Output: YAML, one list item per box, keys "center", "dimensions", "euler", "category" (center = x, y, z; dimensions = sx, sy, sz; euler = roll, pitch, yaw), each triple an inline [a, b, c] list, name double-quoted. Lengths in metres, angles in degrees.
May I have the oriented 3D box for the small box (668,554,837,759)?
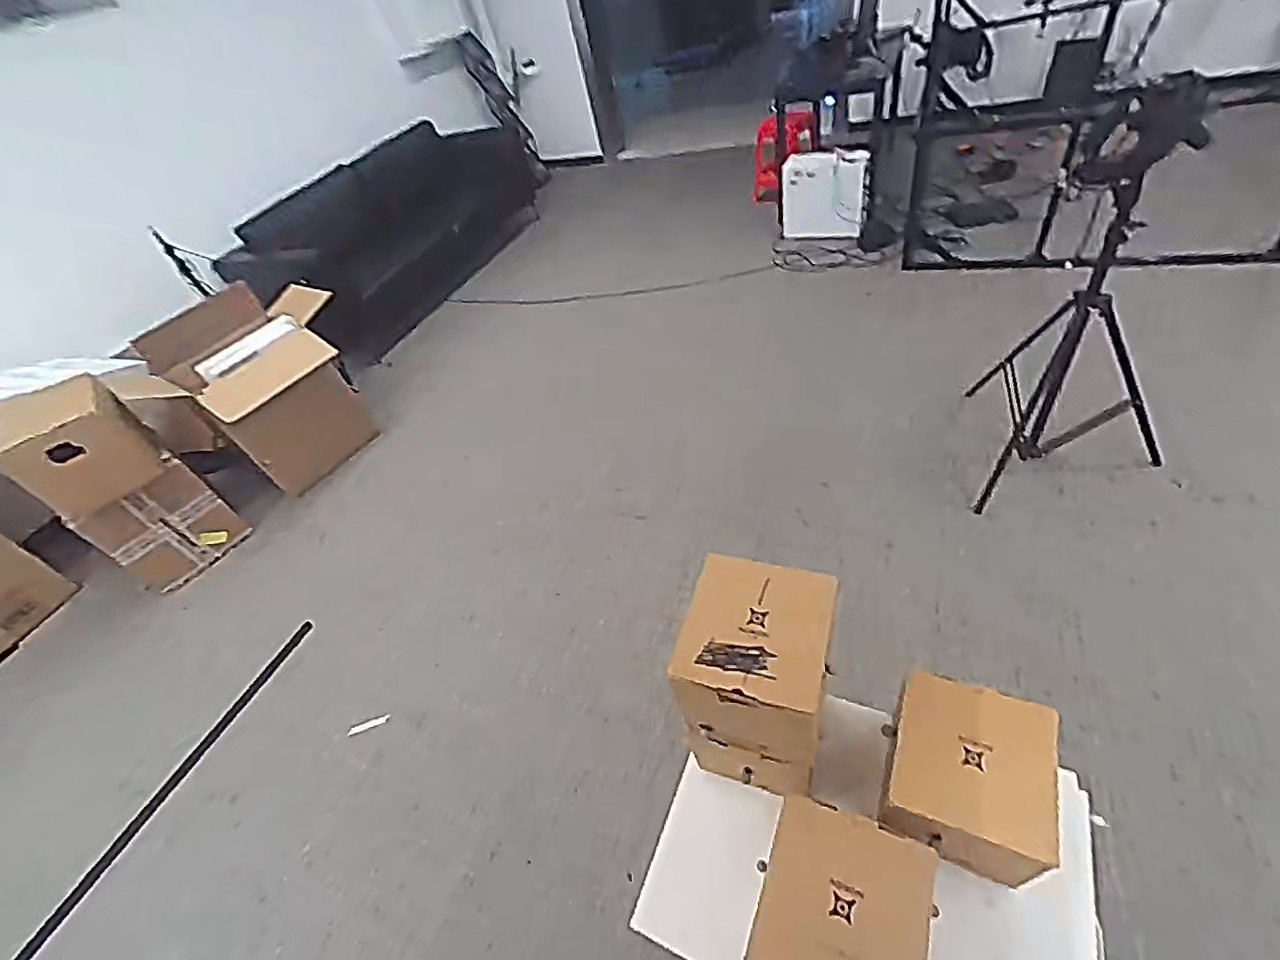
- center: [0.152, 0.225, 0.690]
  dimensions: [0.168, 0.176, 0.179]
  euler: [8, 49, 23]
  category: "small box"
